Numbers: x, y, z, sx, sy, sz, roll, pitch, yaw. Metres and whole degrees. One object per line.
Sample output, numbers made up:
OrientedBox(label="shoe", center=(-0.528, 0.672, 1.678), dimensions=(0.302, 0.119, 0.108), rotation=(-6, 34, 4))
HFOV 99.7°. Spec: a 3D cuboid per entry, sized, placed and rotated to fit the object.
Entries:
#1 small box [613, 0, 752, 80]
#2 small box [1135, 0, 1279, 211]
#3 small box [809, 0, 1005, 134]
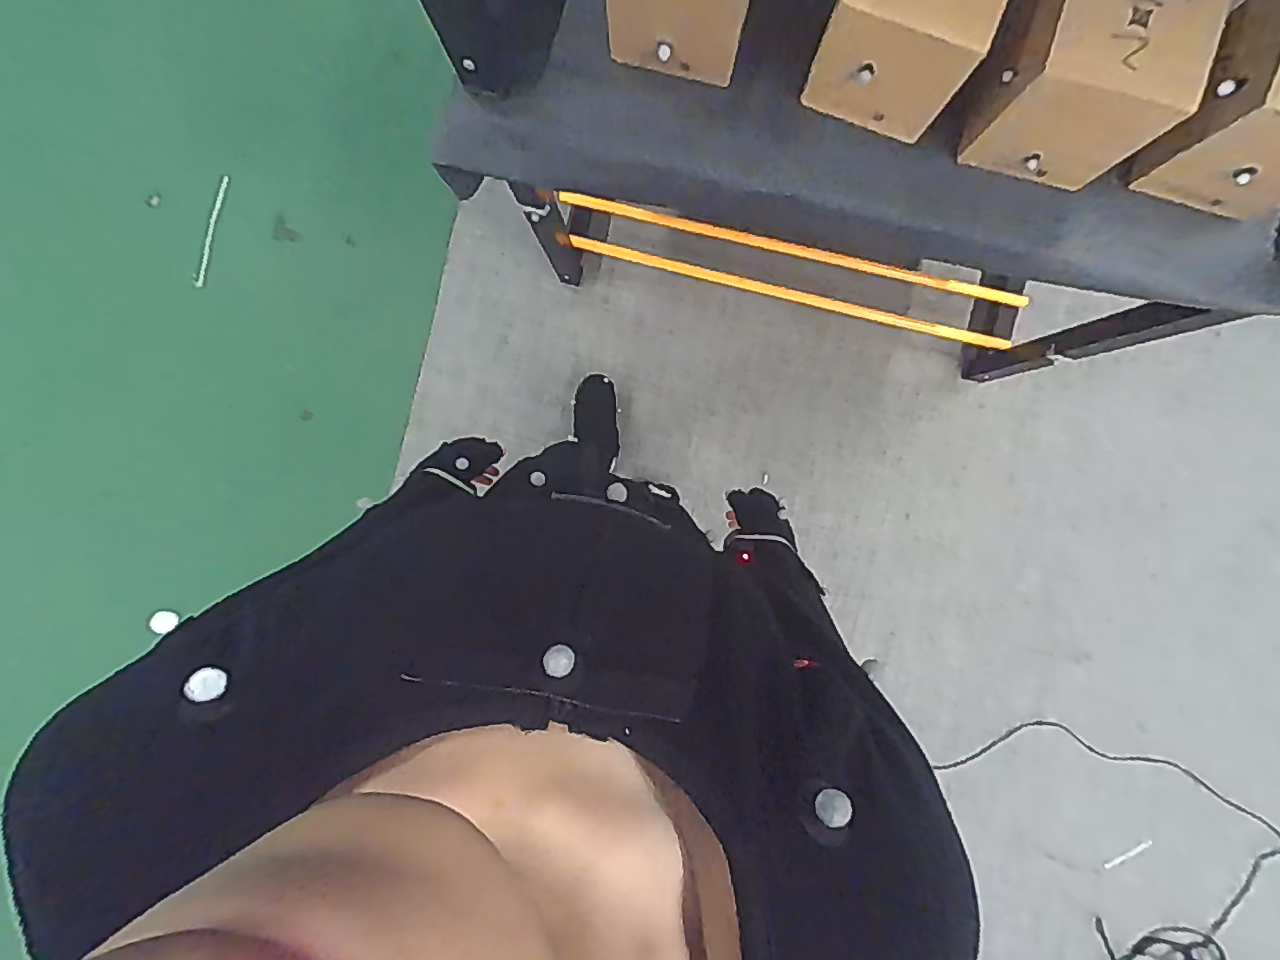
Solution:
OrientedBox(label="small box", center=(0.062, -0.638, 0.647), dimensions=(0.168, 0.176, 0.179), rotation=(14, 93, 1))
OrientedBox(label="small box", center=(0.748, -0.452, 0.636), dimensions=(0.168, 0.176, 0.179), rotation=(17, 92, 1))
OrientedBox(label="small box", center=(0.321, -0.563, 0.646), dimensions=(0.168, 0.176, 0.179), rotation=(20, 92, 1))
